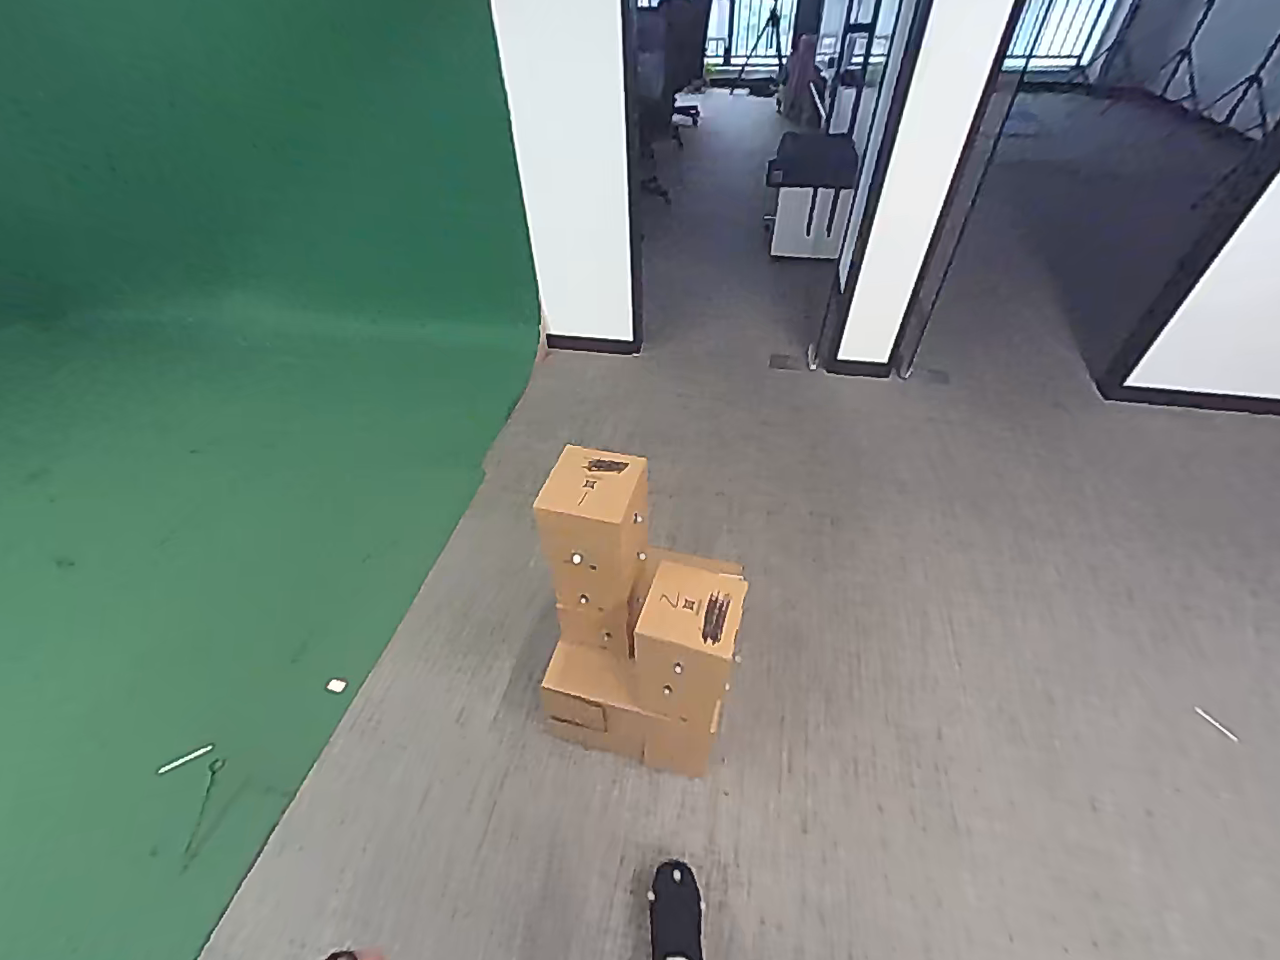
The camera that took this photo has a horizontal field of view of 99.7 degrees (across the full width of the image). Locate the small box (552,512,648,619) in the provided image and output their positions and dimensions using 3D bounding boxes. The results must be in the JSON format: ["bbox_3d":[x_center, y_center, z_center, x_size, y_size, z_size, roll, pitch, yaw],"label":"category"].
[{"bbox_3d":[-0.084,0.171,1.172,0.168,0.176,0.179,10,46,12],"label":"small box"}]

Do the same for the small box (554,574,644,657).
[{"bbox_3d":[-0.086,0.291,1.283,0.168,0.176,0.179,10,44,12],"label":"small box"}]

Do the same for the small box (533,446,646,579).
[{"bbox_3d":[-0.090,0.062,1.050,0.168,0.176,0.179,10,46,12],"label":"small box"}]

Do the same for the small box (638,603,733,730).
[{"bbox_3d":[0.095,0.400,1.161,0.168,0.176,0.179,11,44,13],"label":"small box"}]
